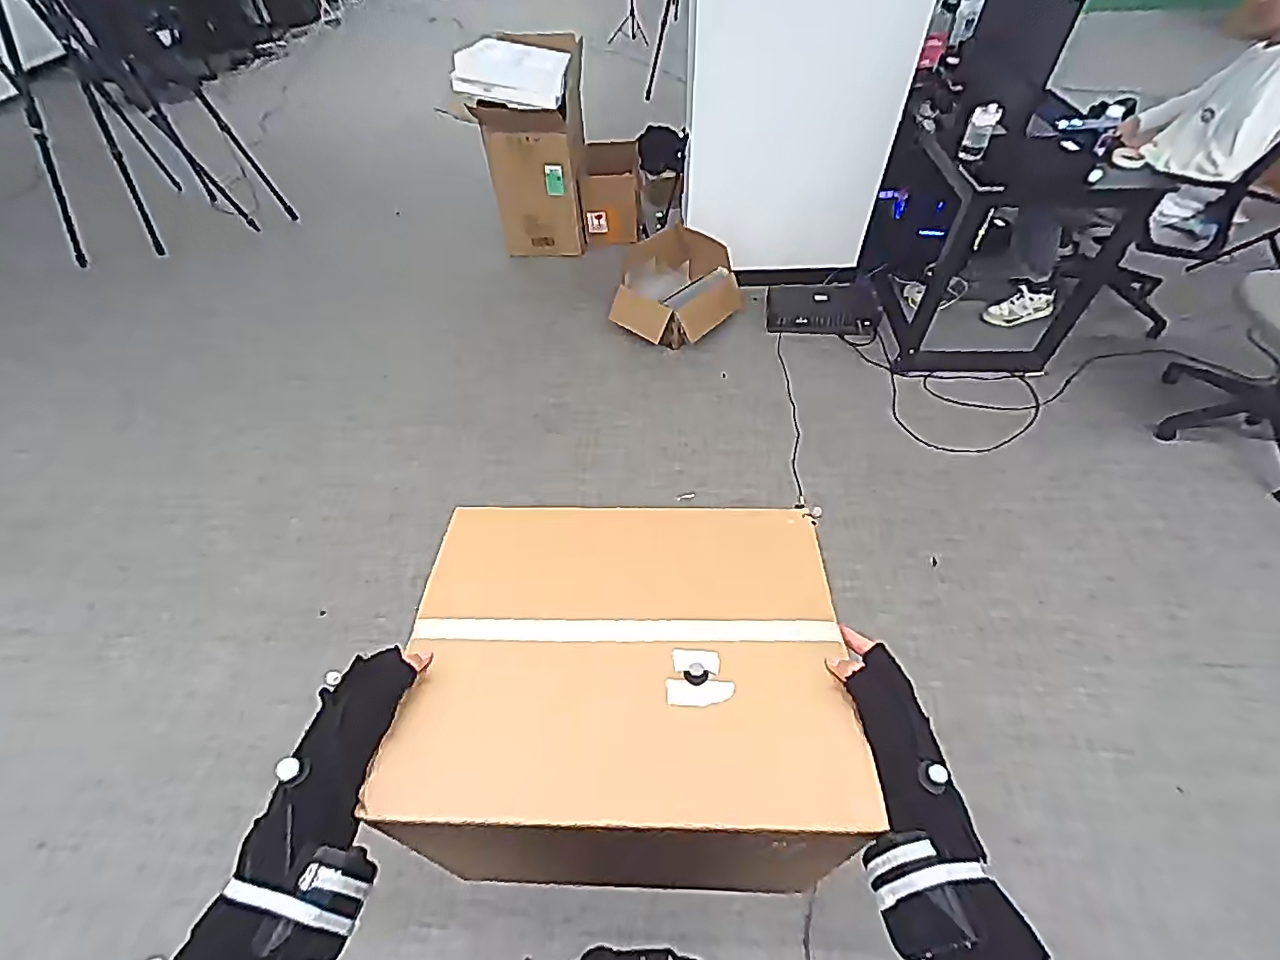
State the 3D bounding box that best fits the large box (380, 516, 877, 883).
[{"bbox_3d":[-0.007,0.256,0.633,0.408,0.320,0.320,0,46,2],"label":"large box"}]
